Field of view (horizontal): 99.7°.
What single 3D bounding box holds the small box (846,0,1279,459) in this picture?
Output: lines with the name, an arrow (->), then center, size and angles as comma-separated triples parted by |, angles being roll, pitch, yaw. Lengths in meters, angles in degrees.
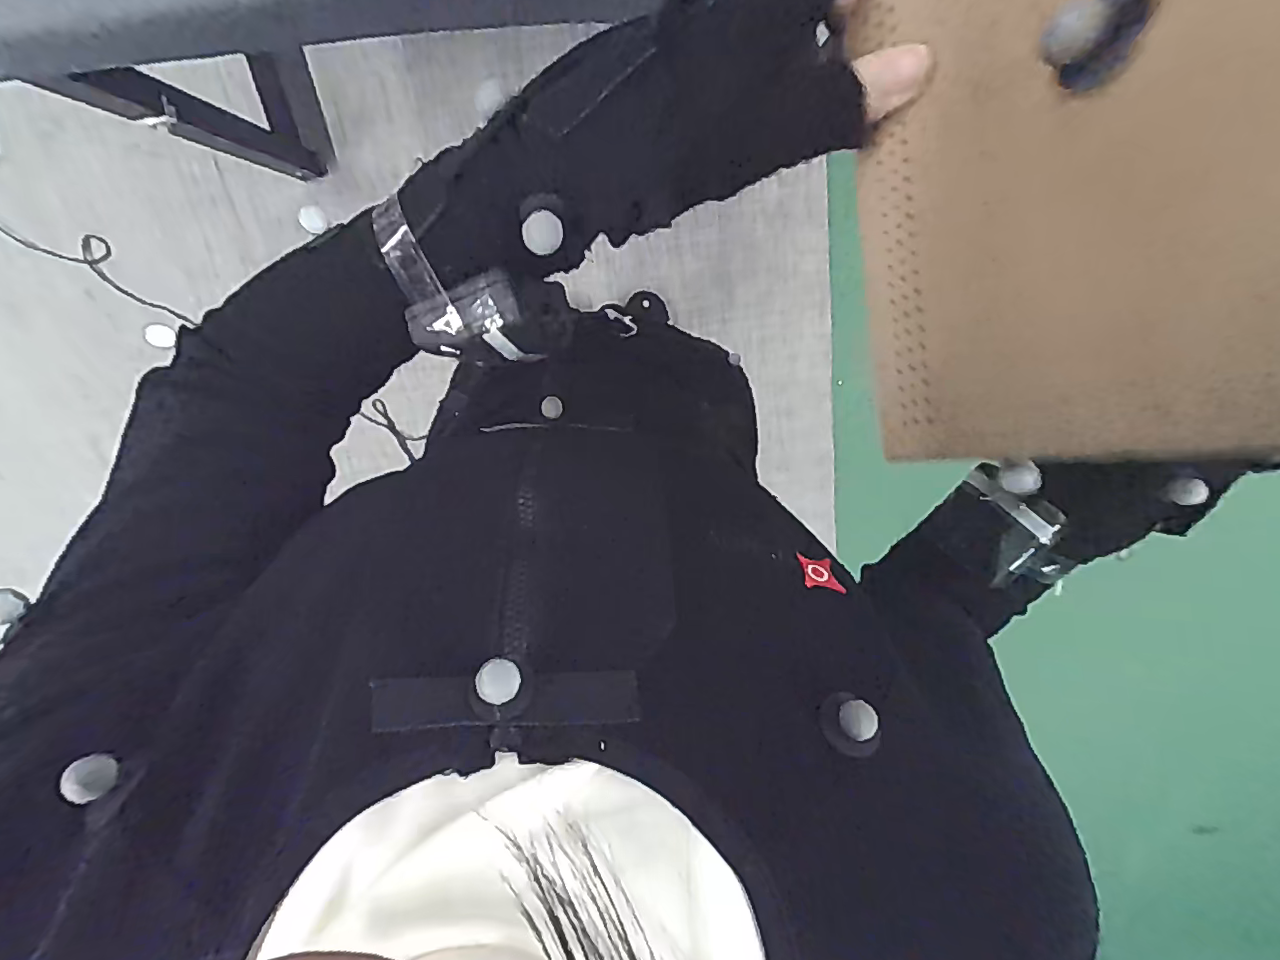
small box -> 0.181, -0.097, 0.154 | 0.168, 0.176, 0.179 | -6, 92, -12
